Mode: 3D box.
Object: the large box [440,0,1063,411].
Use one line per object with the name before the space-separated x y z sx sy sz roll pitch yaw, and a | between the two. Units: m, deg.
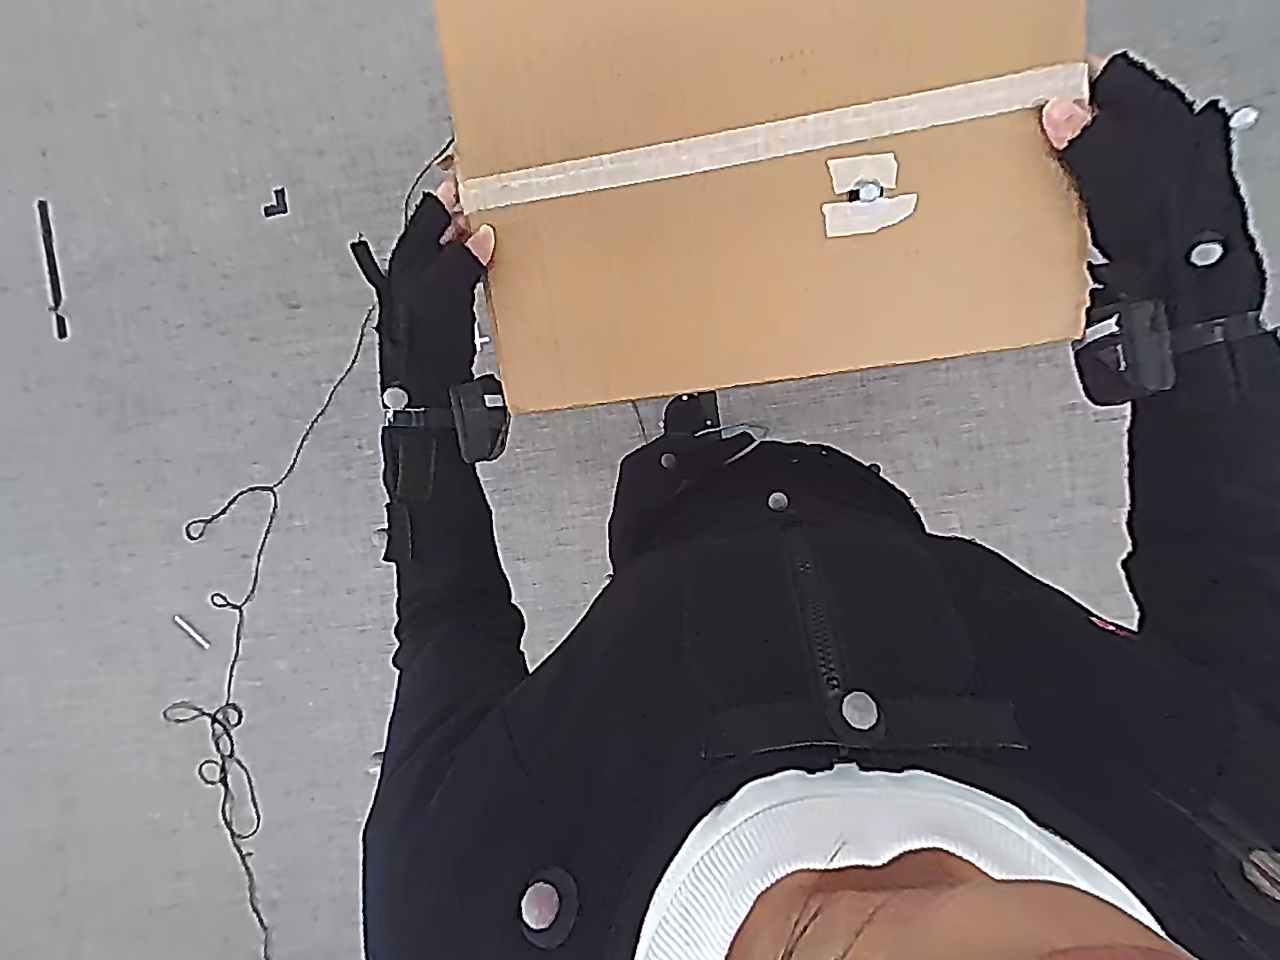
large box | 0.088 -0.257 0.519 0.408 0.320 0.320 -8 101 6
